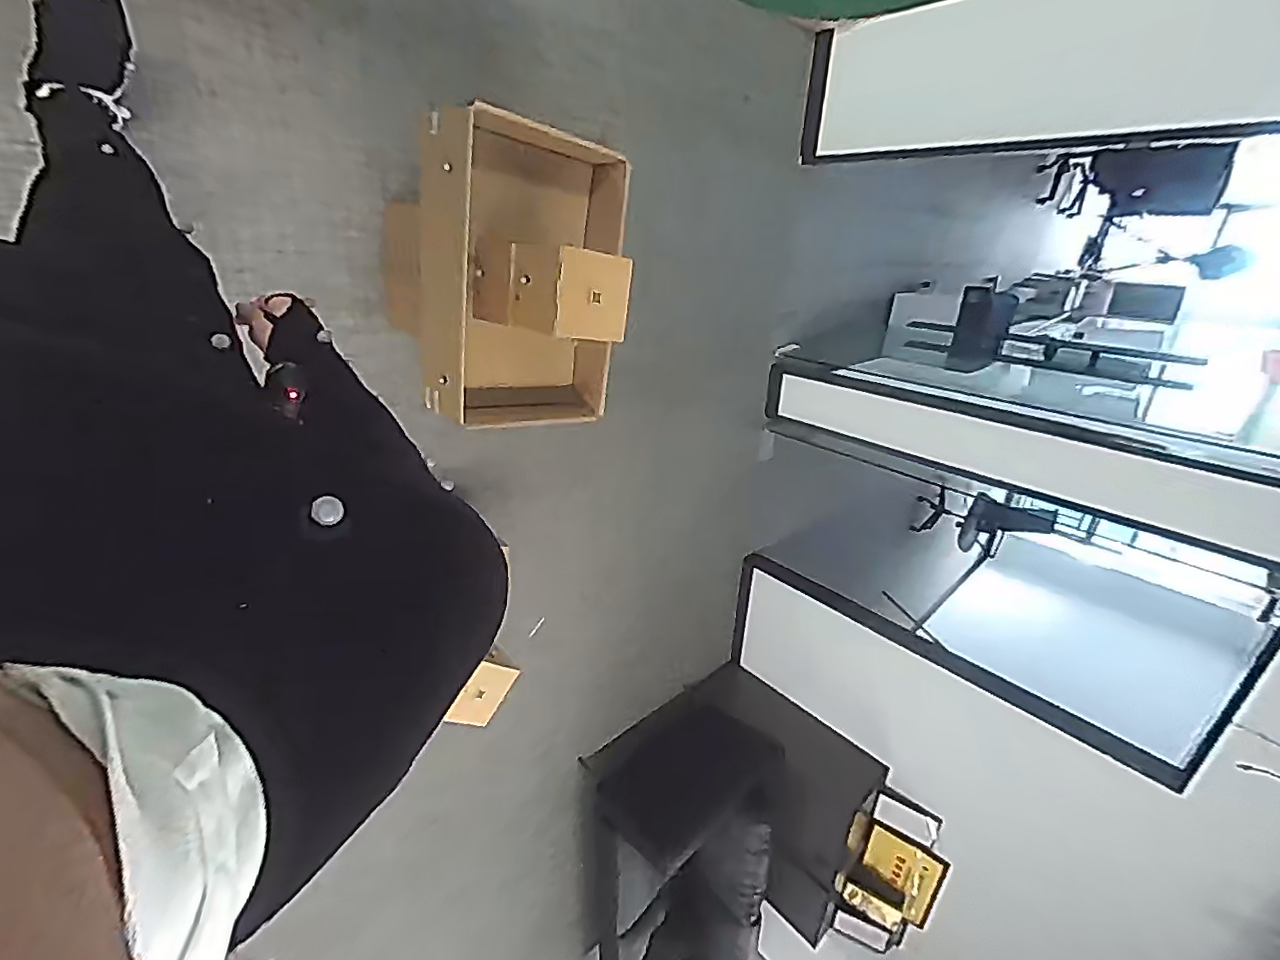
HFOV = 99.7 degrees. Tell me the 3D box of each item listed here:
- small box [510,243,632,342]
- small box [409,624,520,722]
[{"bbox_3d":[-0.144,-0.385,1.110,0.179,0.176,0.168,-9,115,-42],"label":"small box"},{"bbox_3d":[-0.452,0.493,1.390,0.179,0.176,0.168,40,80,-46],"label":"small box"}]
